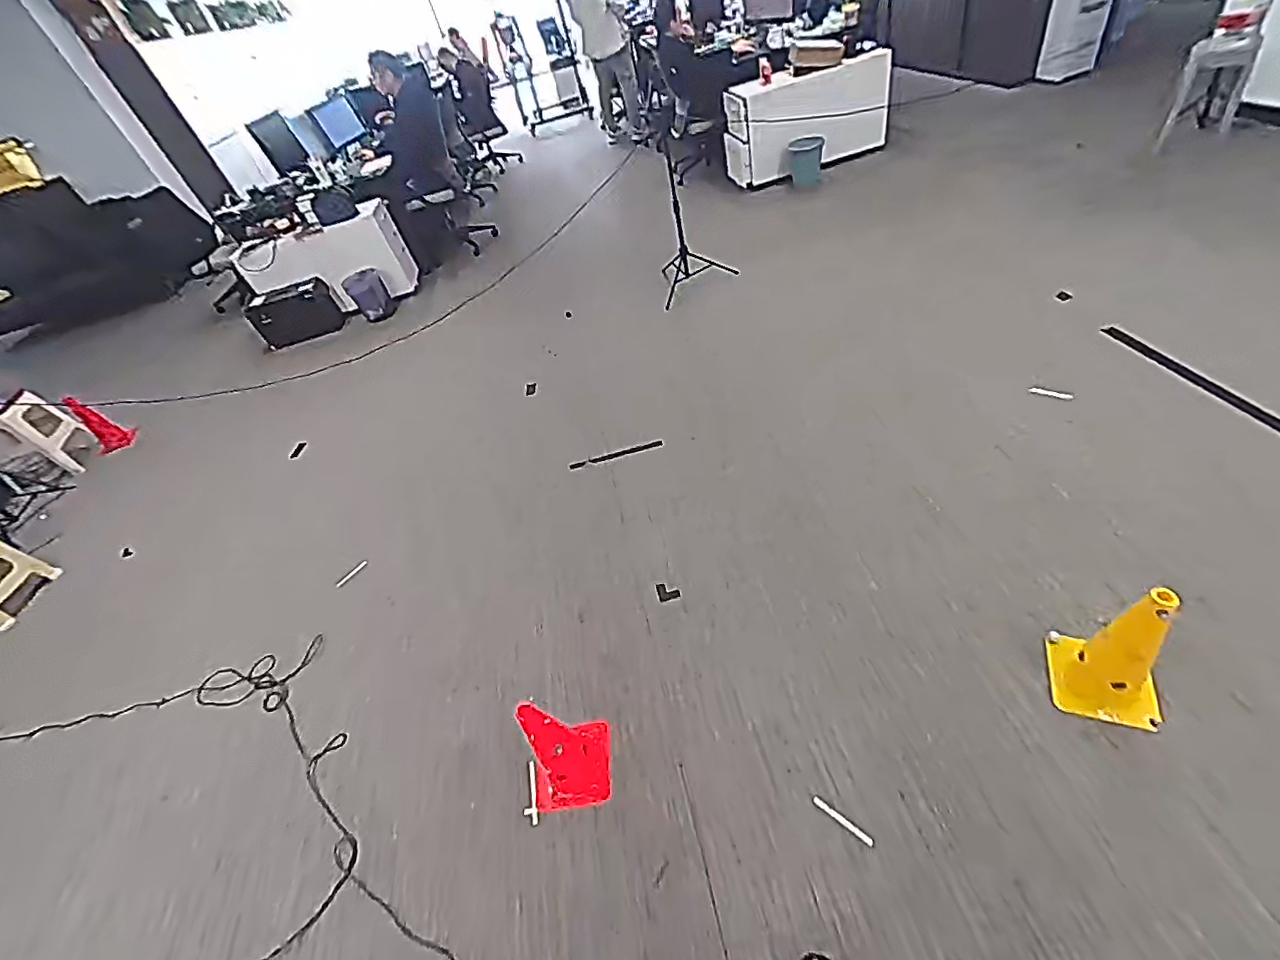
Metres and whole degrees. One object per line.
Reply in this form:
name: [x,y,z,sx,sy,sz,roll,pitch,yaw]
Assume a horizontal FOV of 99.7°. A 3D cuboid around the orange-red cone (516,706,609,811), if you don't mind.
orange-red cone: [-0.213,0.628,1.293,0.199,0.360,0.198,-11,44,6]
